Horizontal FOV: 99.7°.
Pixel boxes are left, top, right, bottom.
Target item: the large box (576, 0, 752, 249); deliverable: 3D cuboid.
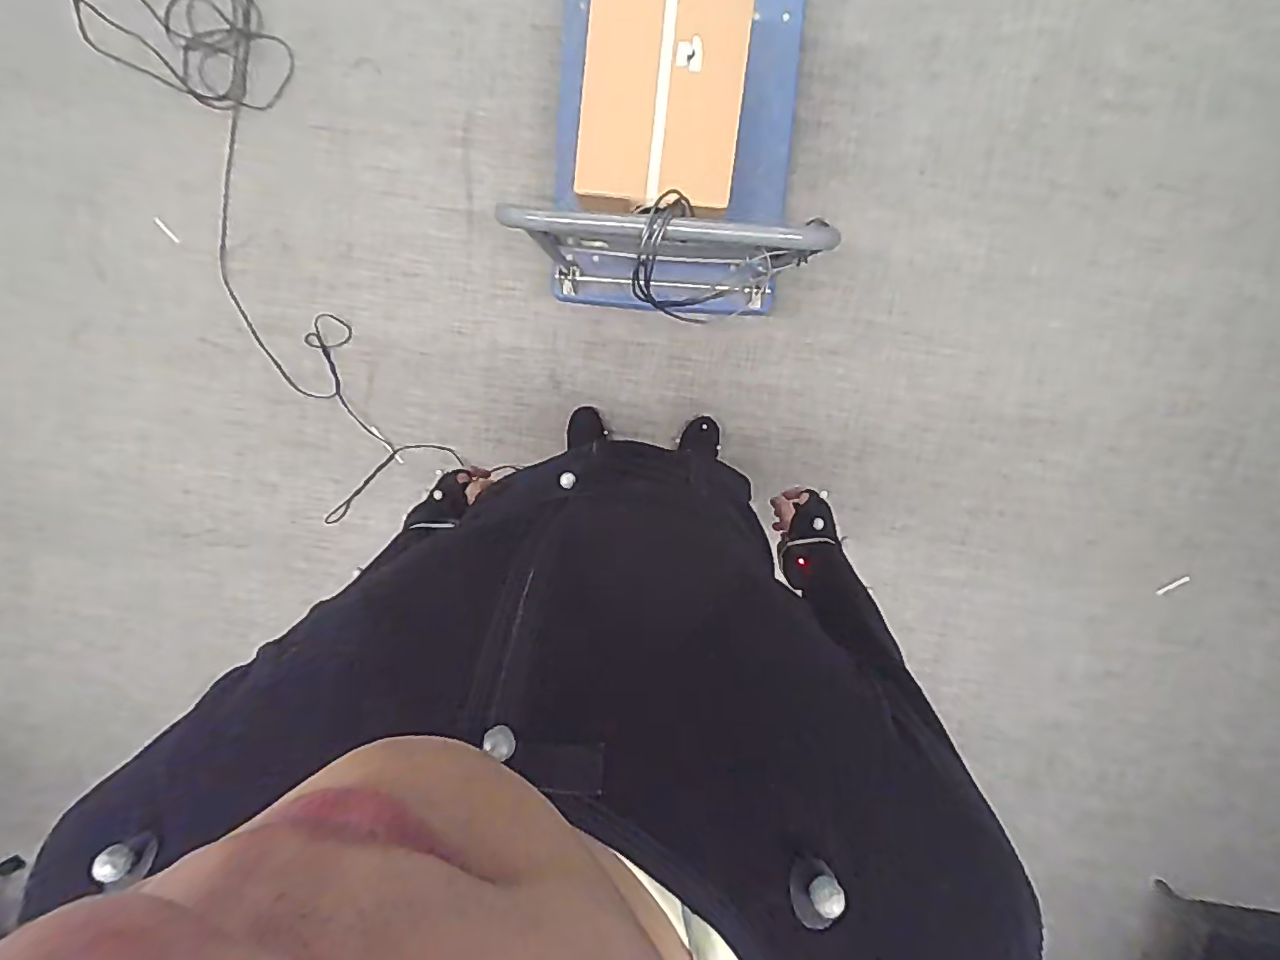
[{"bbox_3d":[0.050,-0.772,1.201,0.320,0.320,0.408,7,98,1],"label":"large box"}]
